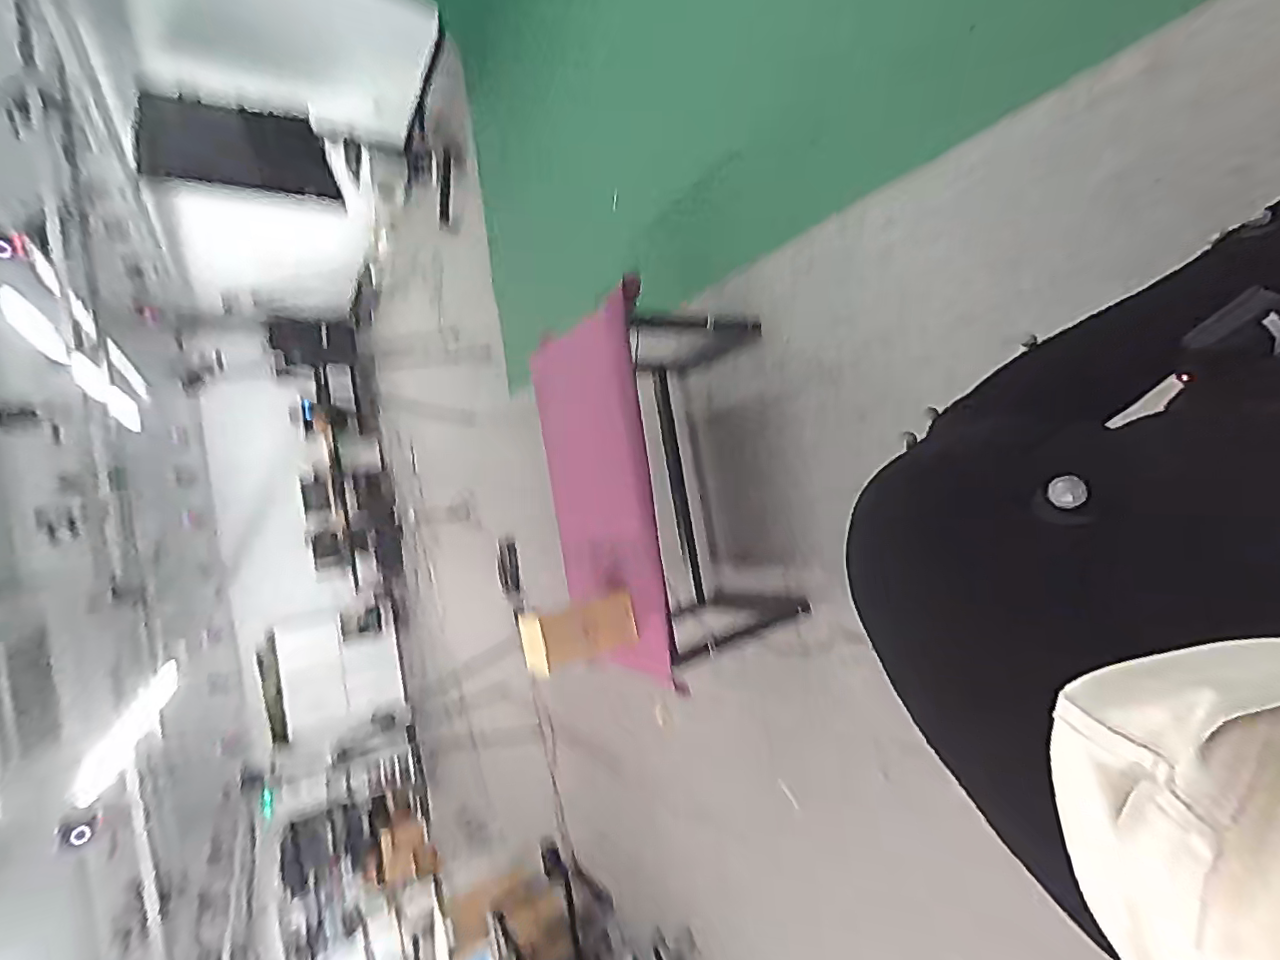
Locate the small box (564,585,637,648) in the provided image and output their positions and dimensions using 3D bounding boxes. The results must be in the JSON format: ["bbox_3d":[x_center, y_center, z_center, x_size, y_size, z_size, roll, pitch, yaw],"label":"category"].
[{"bbox_3d":[-0.134,0.454,1.820,0.179,0.176,0.168,-19,81,55],"label":"small box"}]

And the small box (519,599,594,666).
[{"bbox_3d":[-0.267,0.480,1.726,0.179,0.176,0.168,-20,81,55],"label":"small box"}]
